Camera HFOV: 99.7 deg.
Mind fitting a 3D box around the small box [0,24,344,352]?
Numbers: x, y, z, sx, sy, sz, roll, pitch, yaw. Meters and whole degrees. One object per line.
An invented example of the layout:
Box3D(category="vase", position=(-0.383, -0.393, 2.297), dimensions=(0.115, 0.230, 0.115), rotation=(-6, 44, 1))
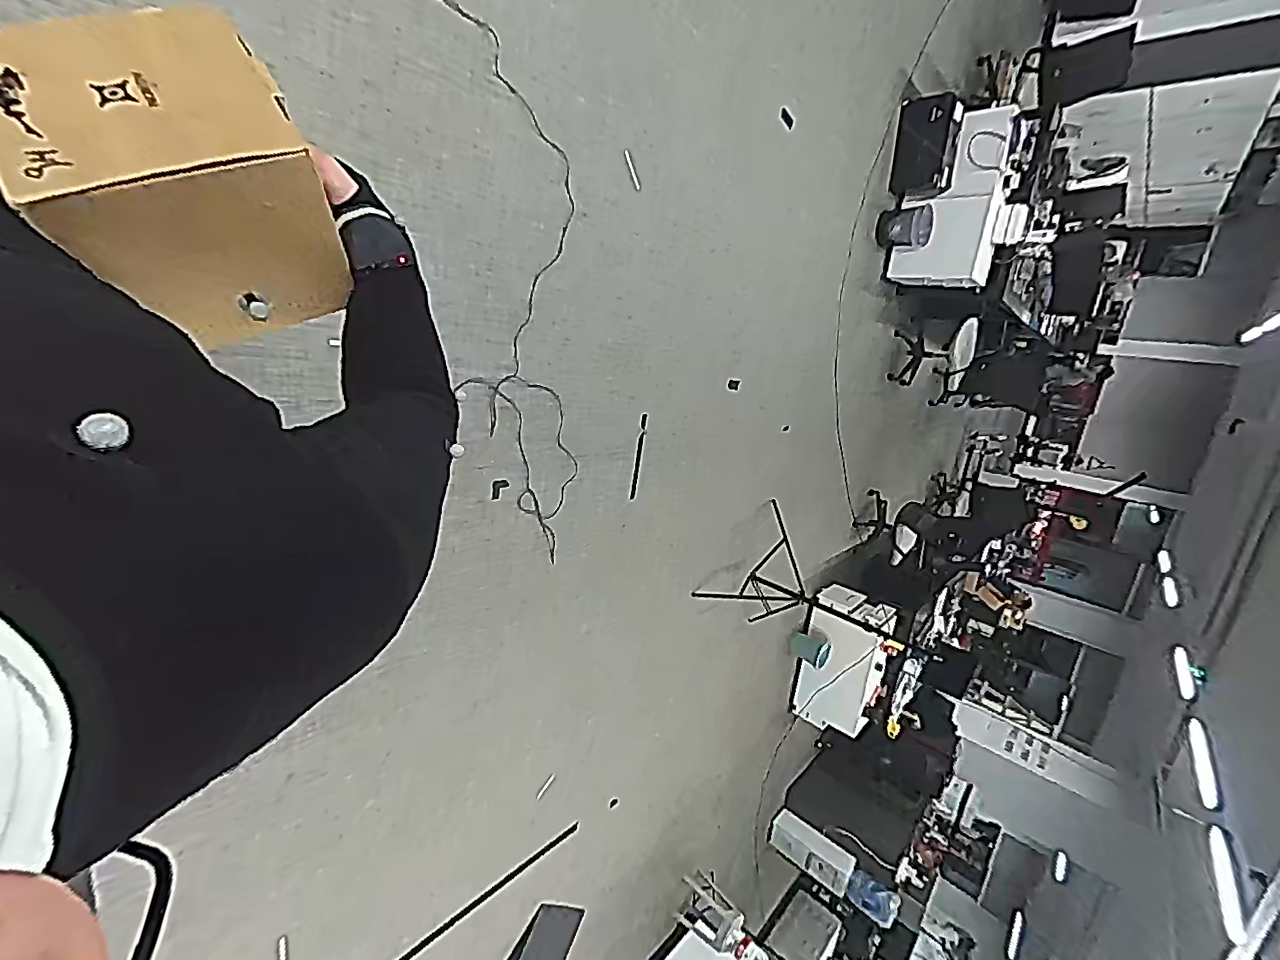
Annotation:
Box3D(category="small box", position=(-0.382, -0.243, 0.467), dimensions=(0.179, 0.168, 0.176), rotation=(-28, 166, -24))
